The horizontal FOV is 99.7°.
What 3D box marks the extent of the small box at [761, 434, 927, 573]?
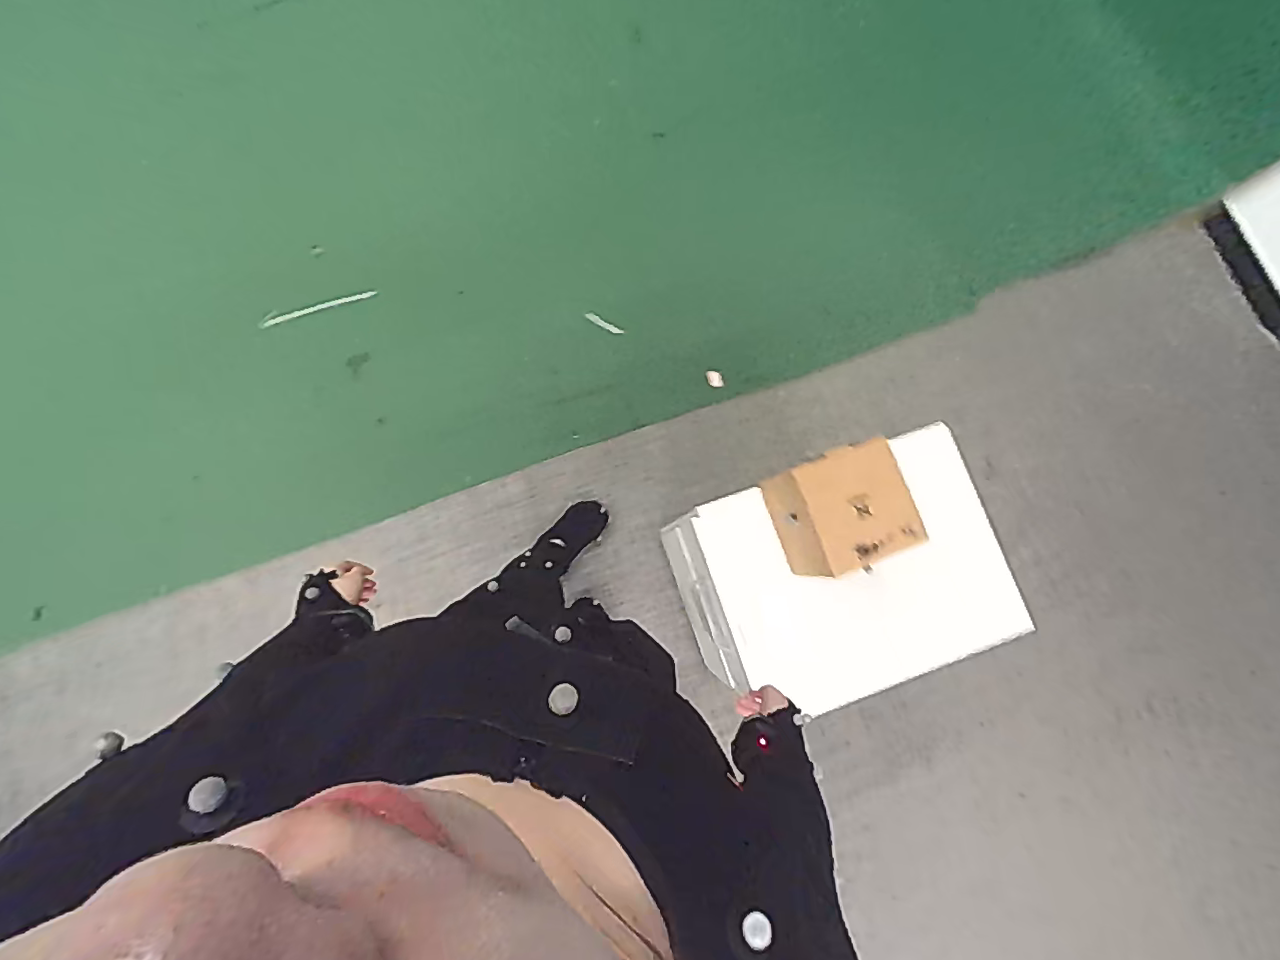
[{"bbox_3d":[0.320,0.047,0.887,0.168,0.176,0.179,-19,83,-8],"label":"small box"}]
